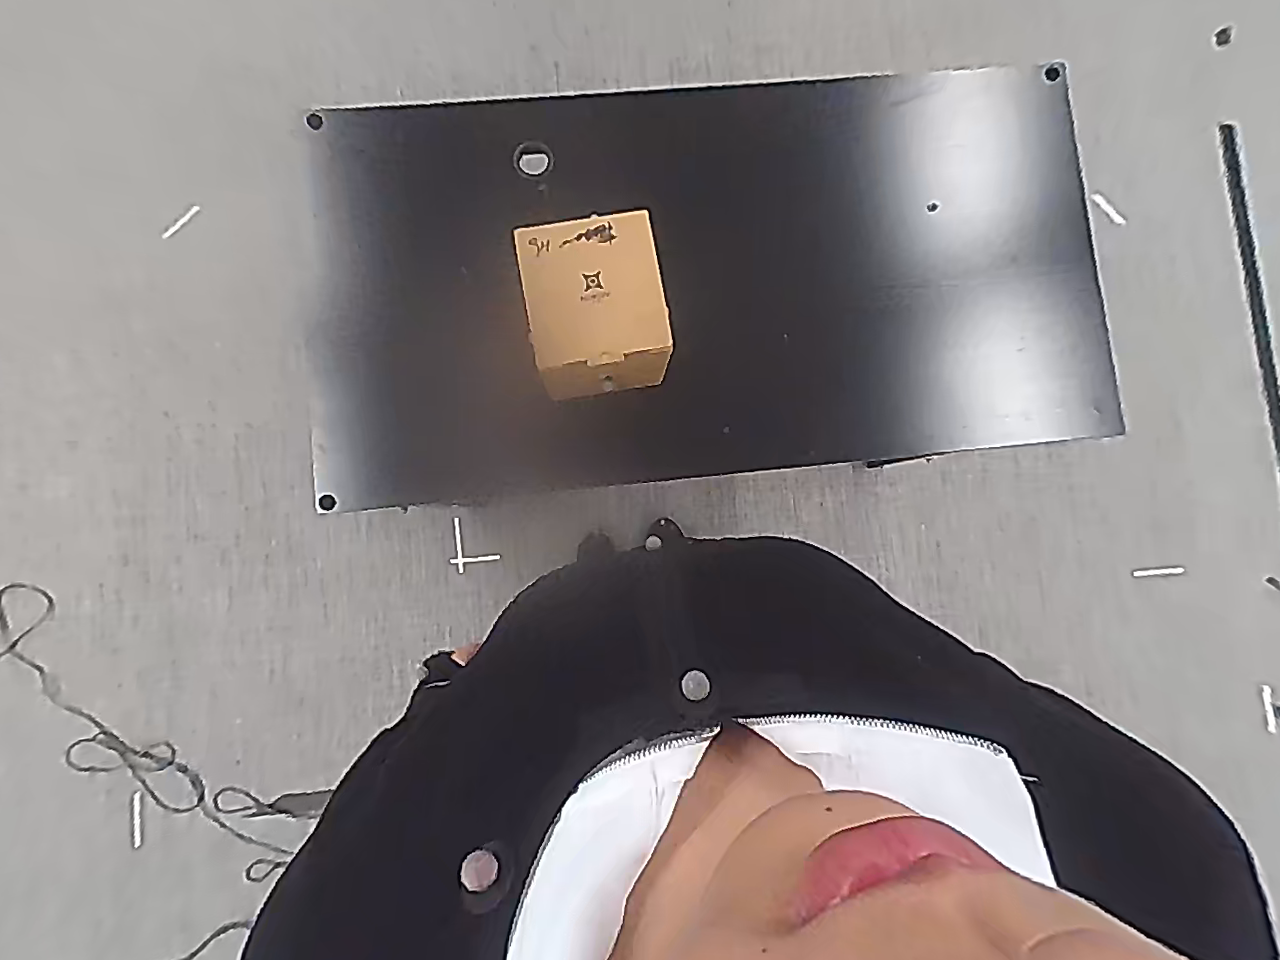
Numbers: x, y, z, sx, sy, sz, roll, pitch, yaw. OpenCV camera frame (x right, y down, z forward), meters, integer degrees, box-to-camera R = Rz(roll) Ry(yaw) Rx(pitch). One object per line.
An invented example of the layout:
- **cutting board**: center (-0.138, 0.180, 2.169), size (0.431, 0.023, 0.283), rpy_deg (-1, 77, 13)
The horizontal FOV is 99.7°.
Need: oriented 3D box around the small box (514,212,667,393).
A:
- **small box**: center (-0.061, -0.223, 0.727), size (0.168, 0.176, 0.179), rpy_deg (-10, 86, -3)
